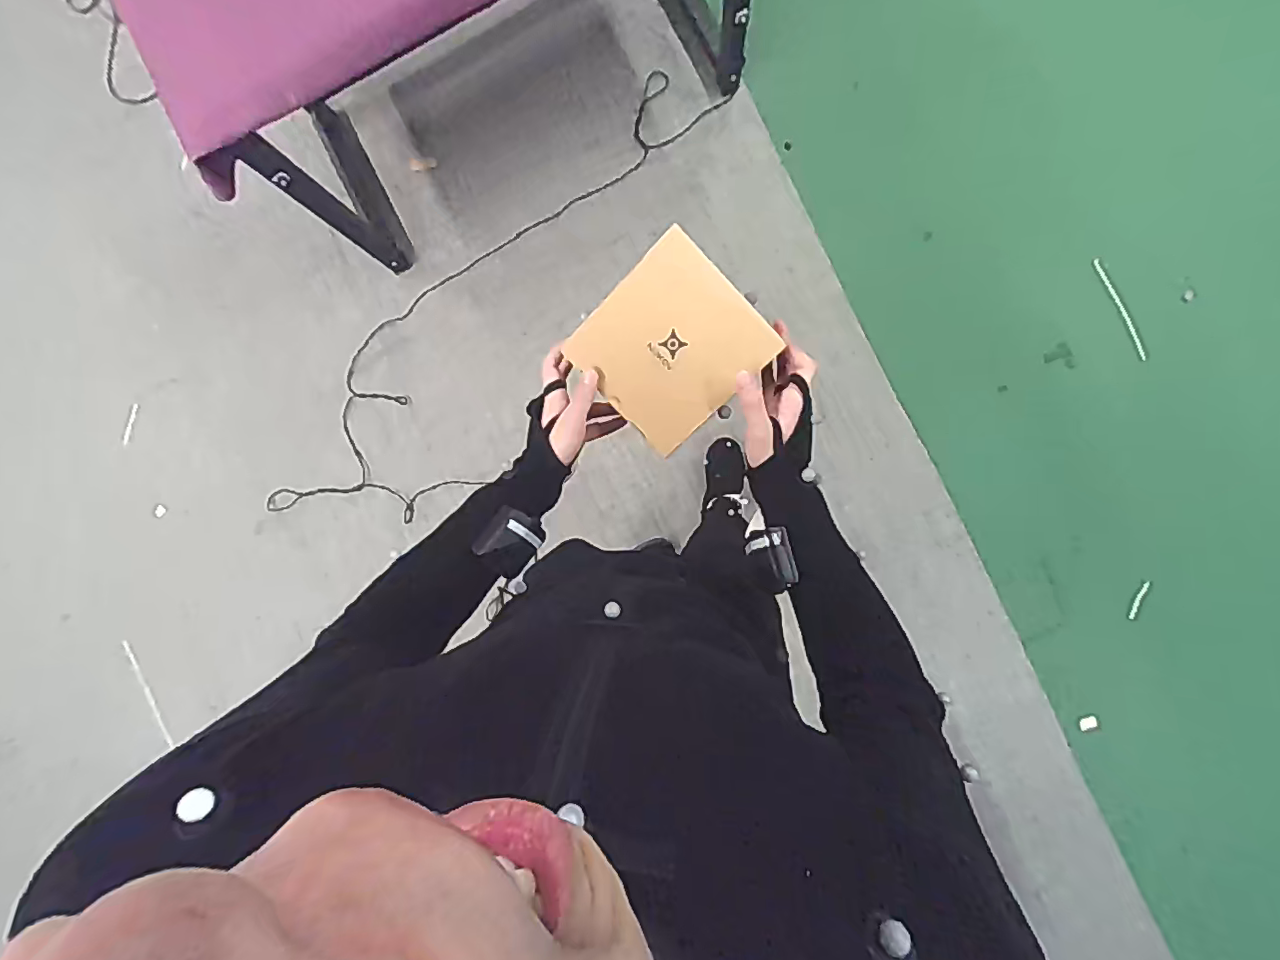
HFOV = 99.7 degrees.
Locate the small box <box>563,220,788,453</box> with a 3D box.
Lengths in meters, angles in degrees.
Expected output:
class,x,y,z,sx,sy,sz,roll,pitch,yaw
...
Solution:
class,x,y,z,sx,sy,sz,roll,pitch,yaw
small box,0.043,-0.163,0.627,0.168,0.176,0.179,45,109,-5
